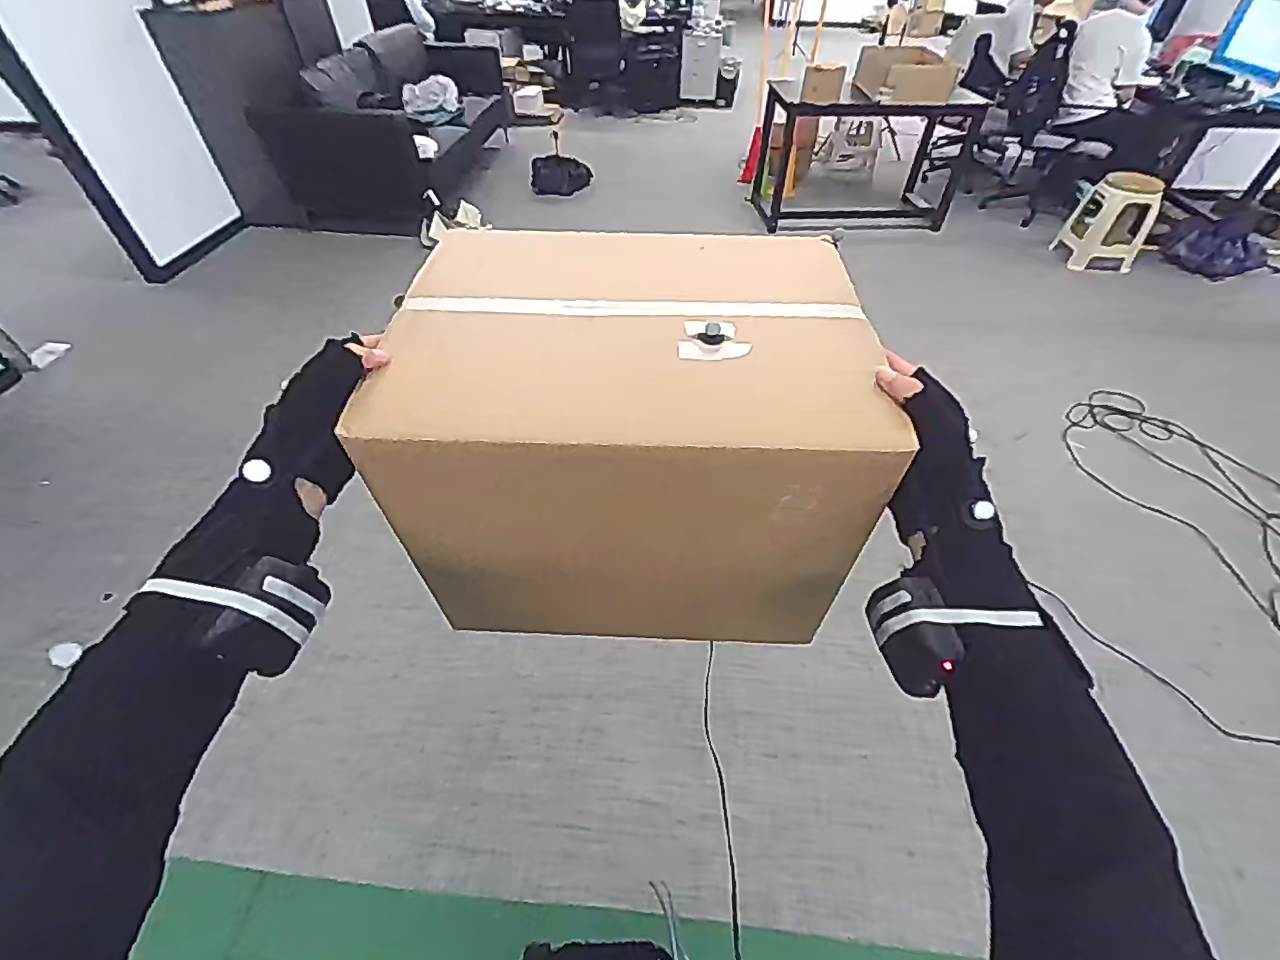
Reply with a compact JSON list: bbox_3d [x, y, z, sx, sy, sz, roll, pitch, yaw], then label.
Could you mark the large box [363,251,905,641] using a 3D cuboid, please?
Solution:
[{"bbox_3d":[-0.006,-0.032,0.598,0.408,0.320,0.320,2,49,0],"label":"large box"}]
